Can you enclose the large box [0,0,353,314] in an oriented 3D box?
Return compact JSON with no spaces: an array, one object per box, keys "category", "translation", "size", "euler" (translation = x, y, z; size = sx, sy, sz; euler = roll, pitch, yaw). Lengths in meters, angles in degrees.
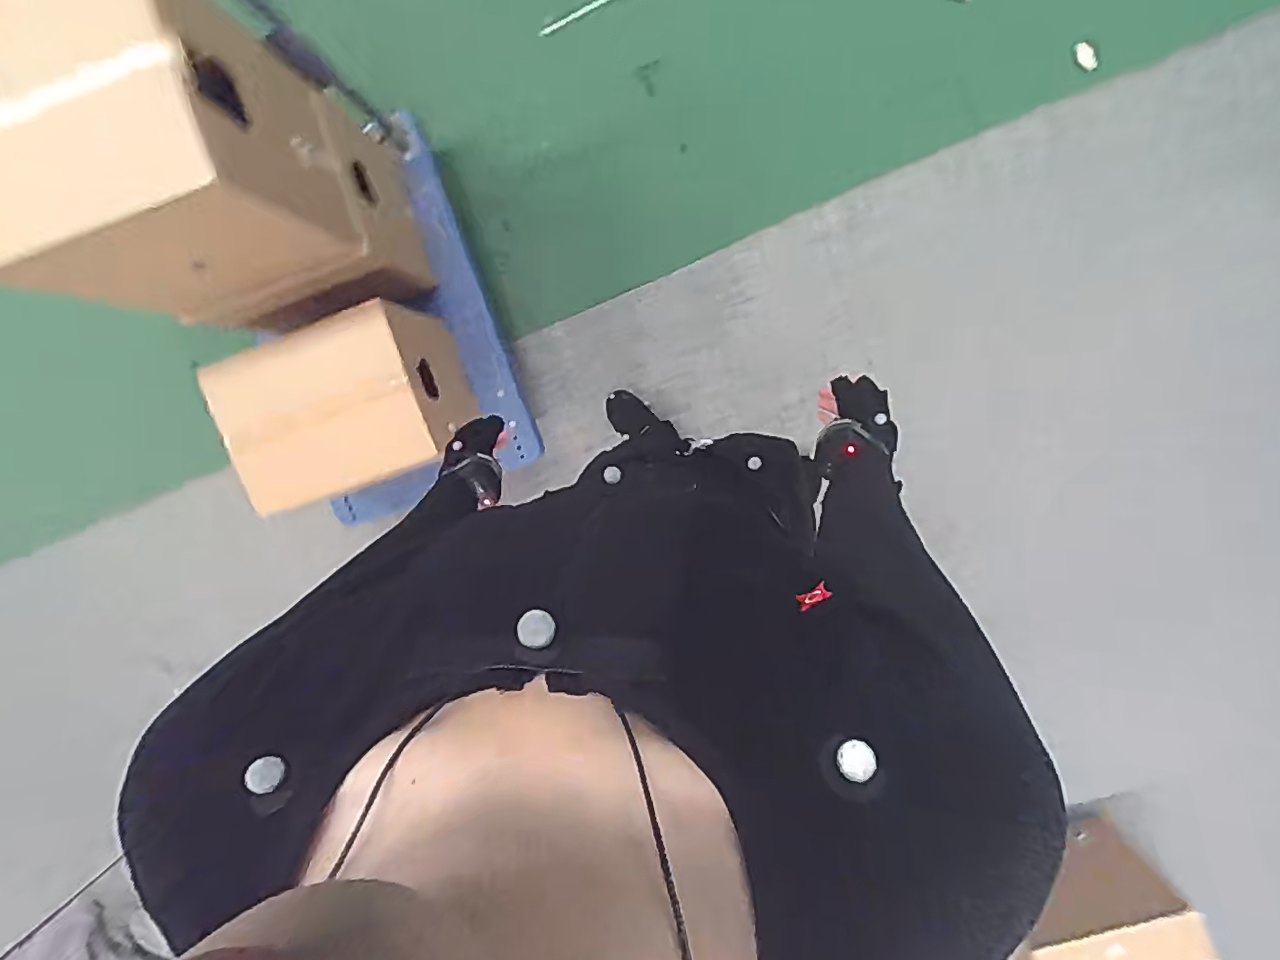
[{"category":"large box","translation":[-0.751,-0.484,0.828],"size":[0.408,0.320,0.320],"euler":[-16,96,7]}]
